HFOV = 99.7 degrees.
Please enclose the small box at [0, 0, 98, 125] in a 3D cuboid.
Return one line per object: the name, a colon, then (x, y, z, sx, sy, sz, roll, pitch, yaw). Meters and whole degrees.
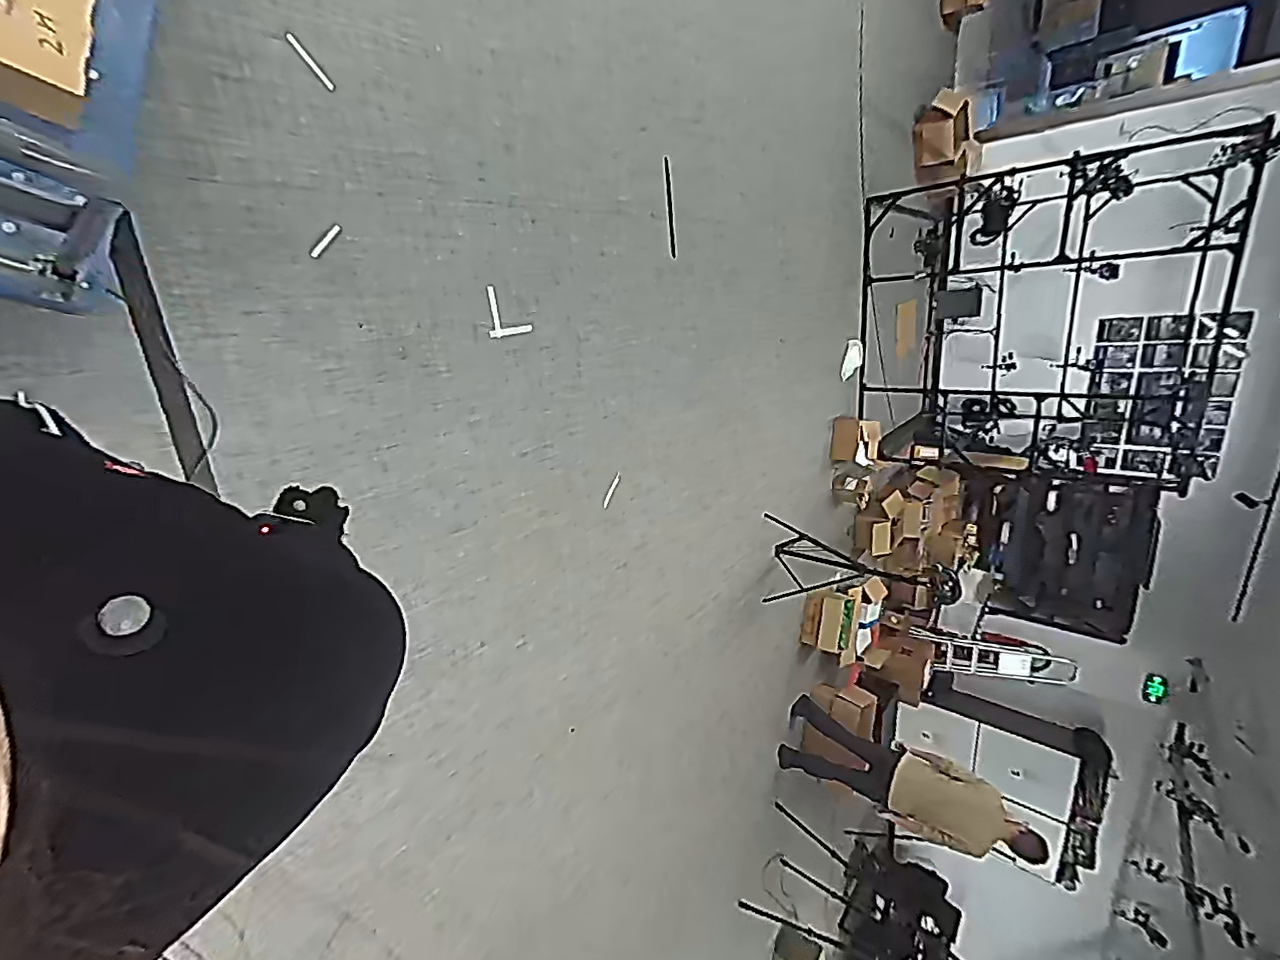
small box: (-0.908, -0.645, 0.766, 0.179, 0.176, 0.168, 7, 92, -51)
